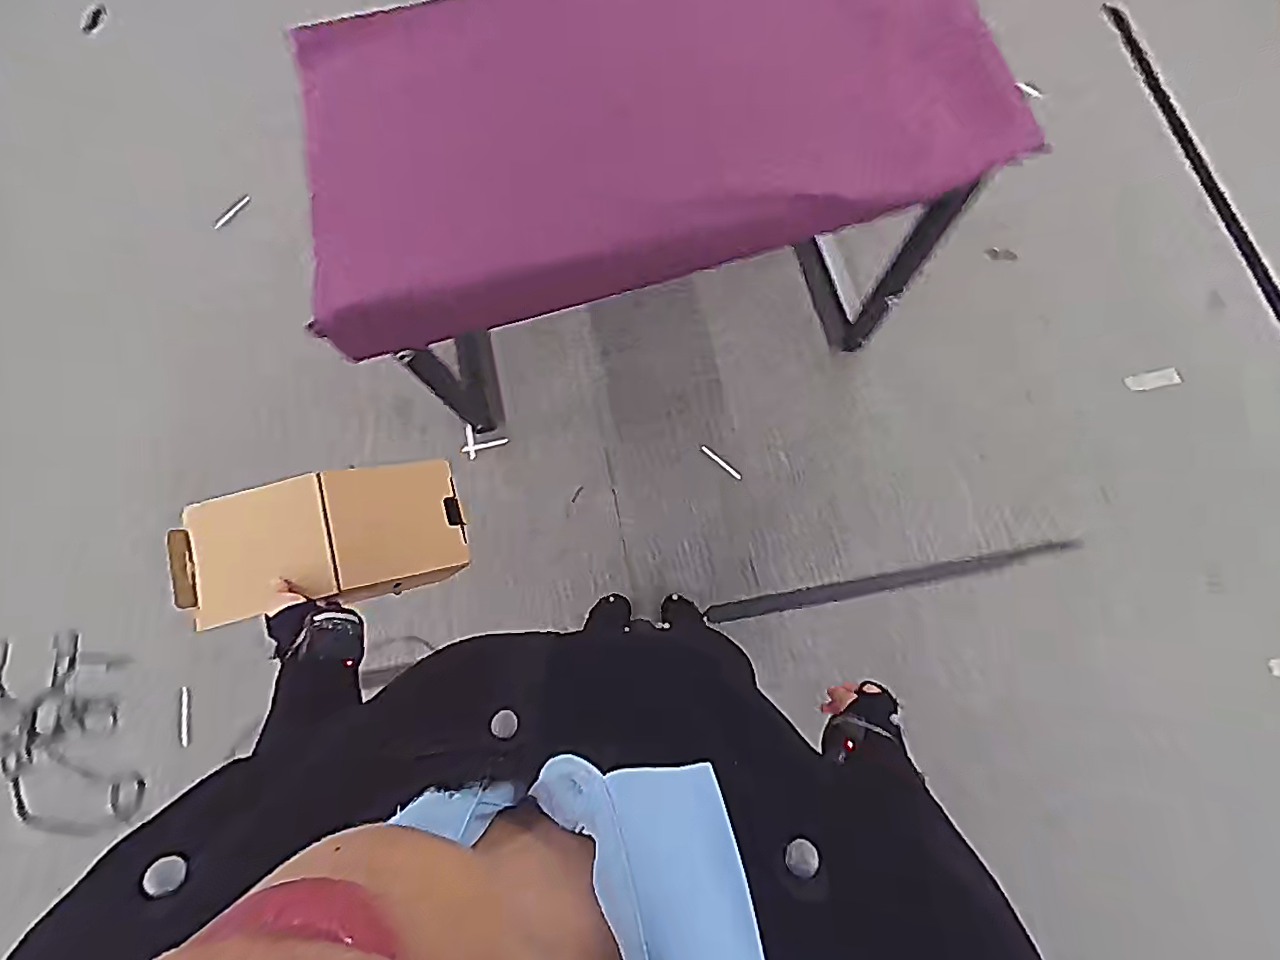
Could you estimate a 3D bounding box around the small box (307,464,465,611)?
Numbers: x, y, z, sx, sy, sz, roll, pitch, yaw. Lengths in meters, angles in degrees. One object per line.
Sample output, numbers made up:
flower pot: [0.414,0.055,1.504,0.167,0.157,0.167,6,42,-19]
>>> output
small box: [-0.384,0.087,0.804,0.179,0.176,0.168,-10,78,-37]
